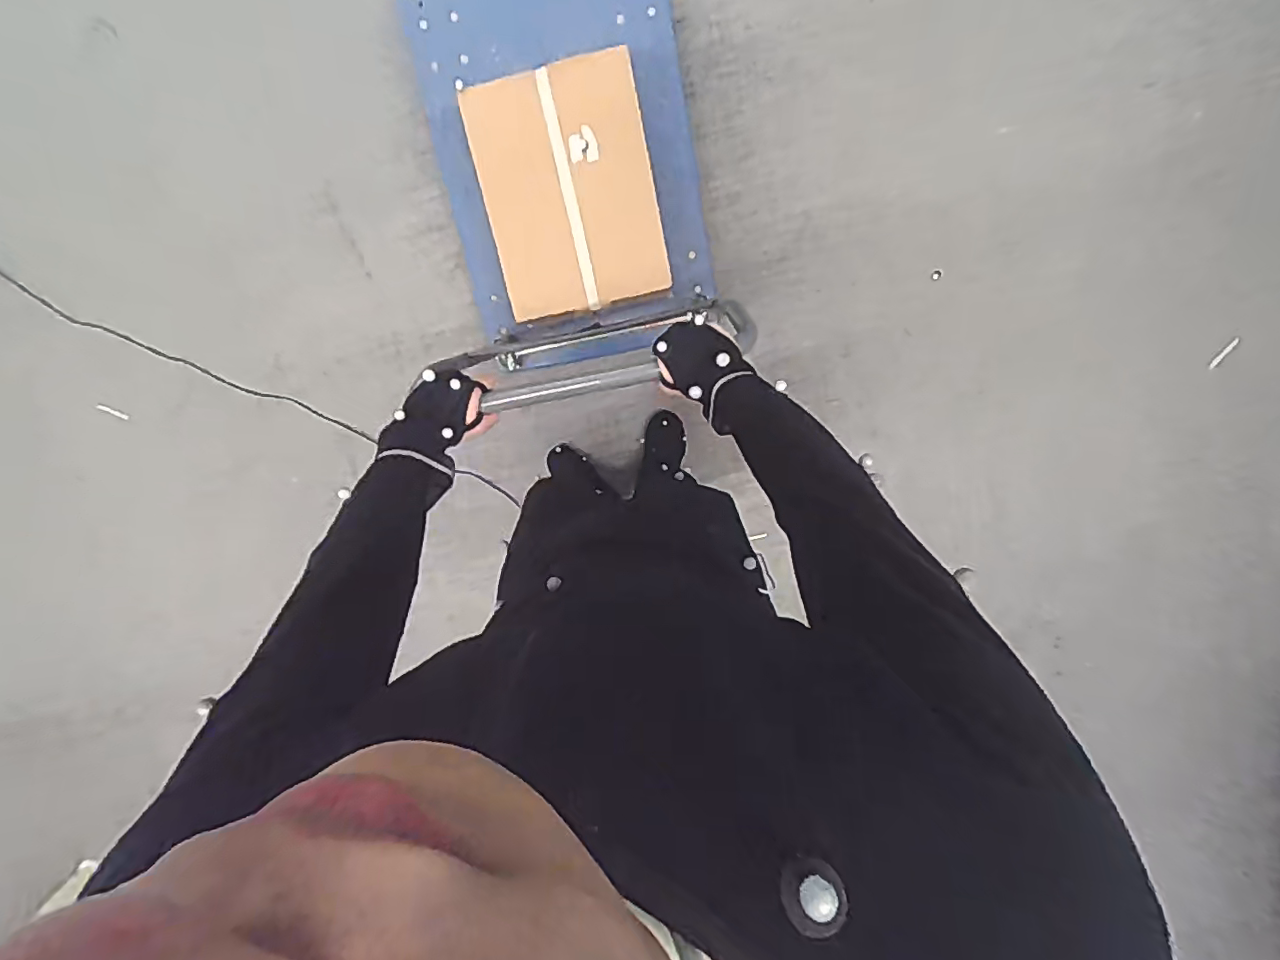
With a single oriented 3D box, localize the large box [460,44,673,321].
[{"bbox_3d":[-0.122,-0.572,1.131,0.320,0.320,0.408,-11,104,4],"label":"large box"}]
